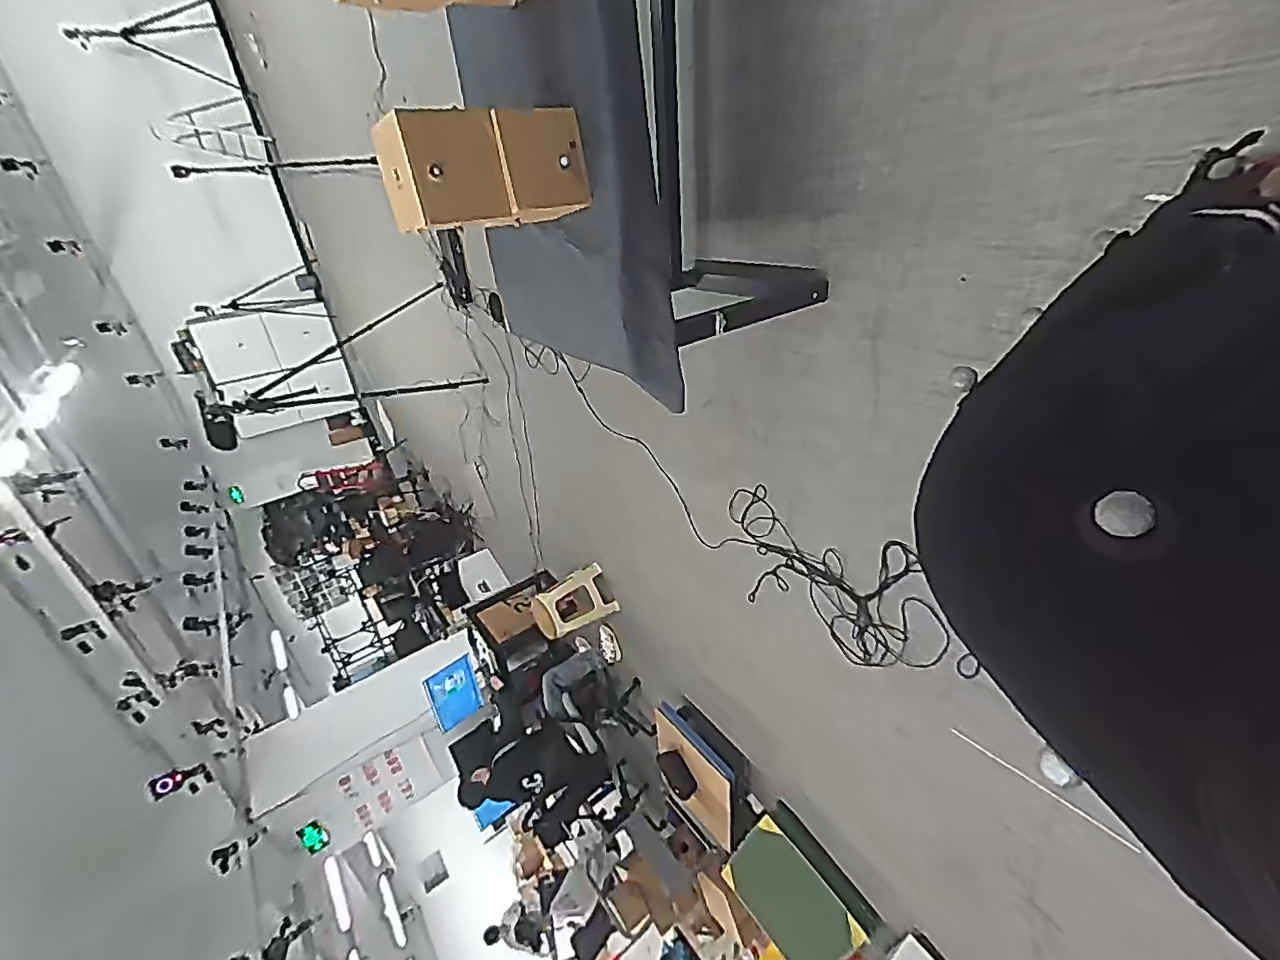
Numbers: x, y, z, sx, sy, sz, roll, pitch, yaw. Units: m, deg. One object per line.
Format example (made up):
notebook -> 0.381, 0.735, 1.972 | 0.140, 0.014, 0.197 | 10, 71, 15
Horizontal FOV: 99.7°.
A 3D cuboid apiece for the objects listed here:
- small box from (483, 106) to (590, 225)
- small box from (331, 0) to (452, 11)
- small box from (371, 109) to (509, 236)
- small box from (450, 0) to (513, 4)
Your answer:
small box -> -0.222, -0.610, 1.060 | 0.179, 0.176, 0.168 | 18, 126, 51
small box -> -0.394, -0.846, 0.832 | 0.179, 0.176, 0.168 | 33, 137, 42
small box -> -0.359, -0.558, 0.988 | 0.168, 0.176, 0.179 | 22, 128, 48
small box -> -0.275, -0.932, 0.909 | 0.179, 0.176, 0.168 | 30, 135, 45
